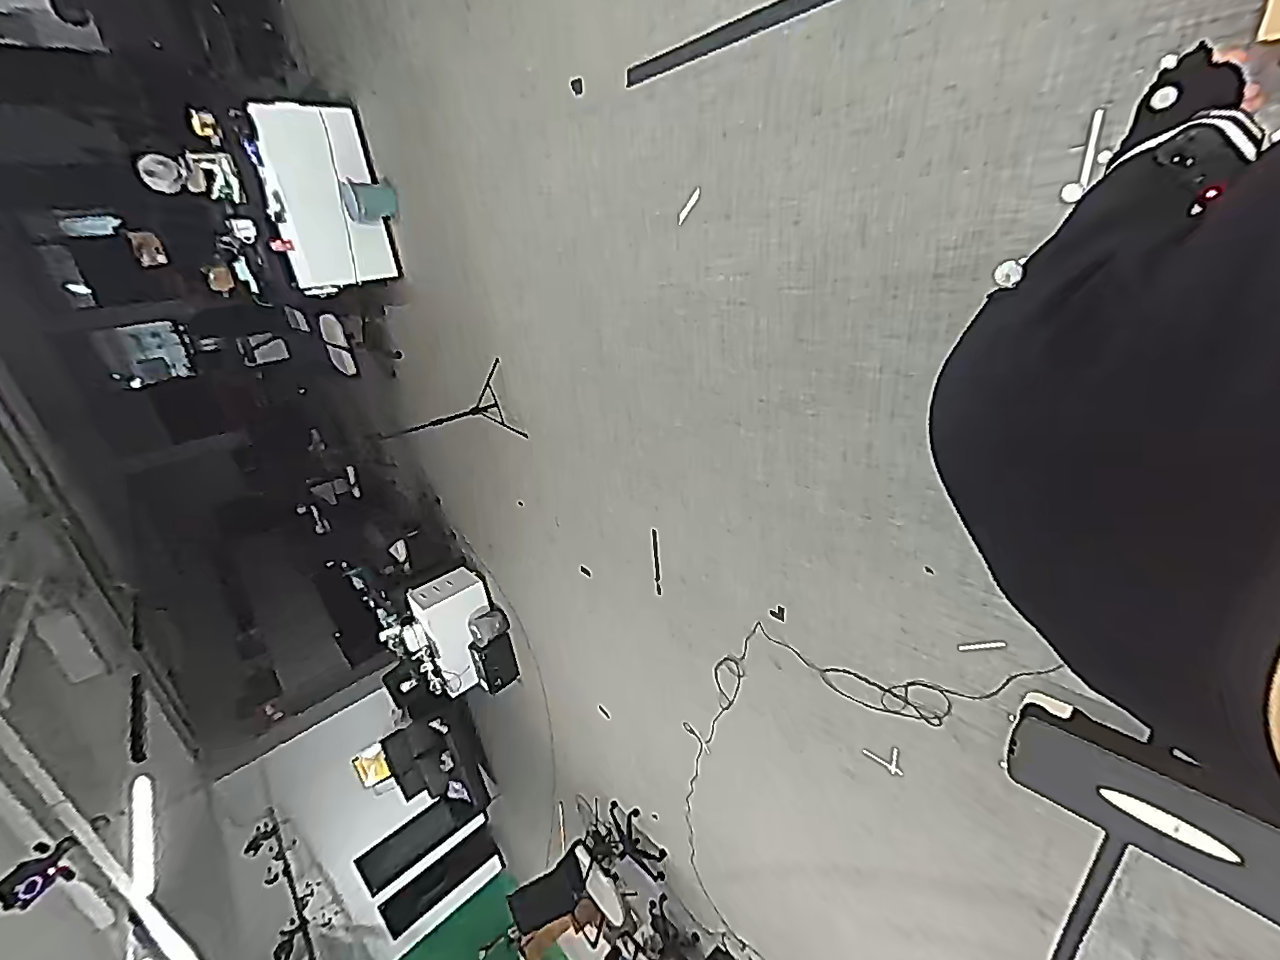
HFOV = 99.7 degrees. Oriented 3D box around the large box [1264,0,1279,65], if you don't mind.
[{"bbox_3d":[1.036,-0.715,0.596,0.408,0.320,0.320,20,126,43],"label":"large box"}]
